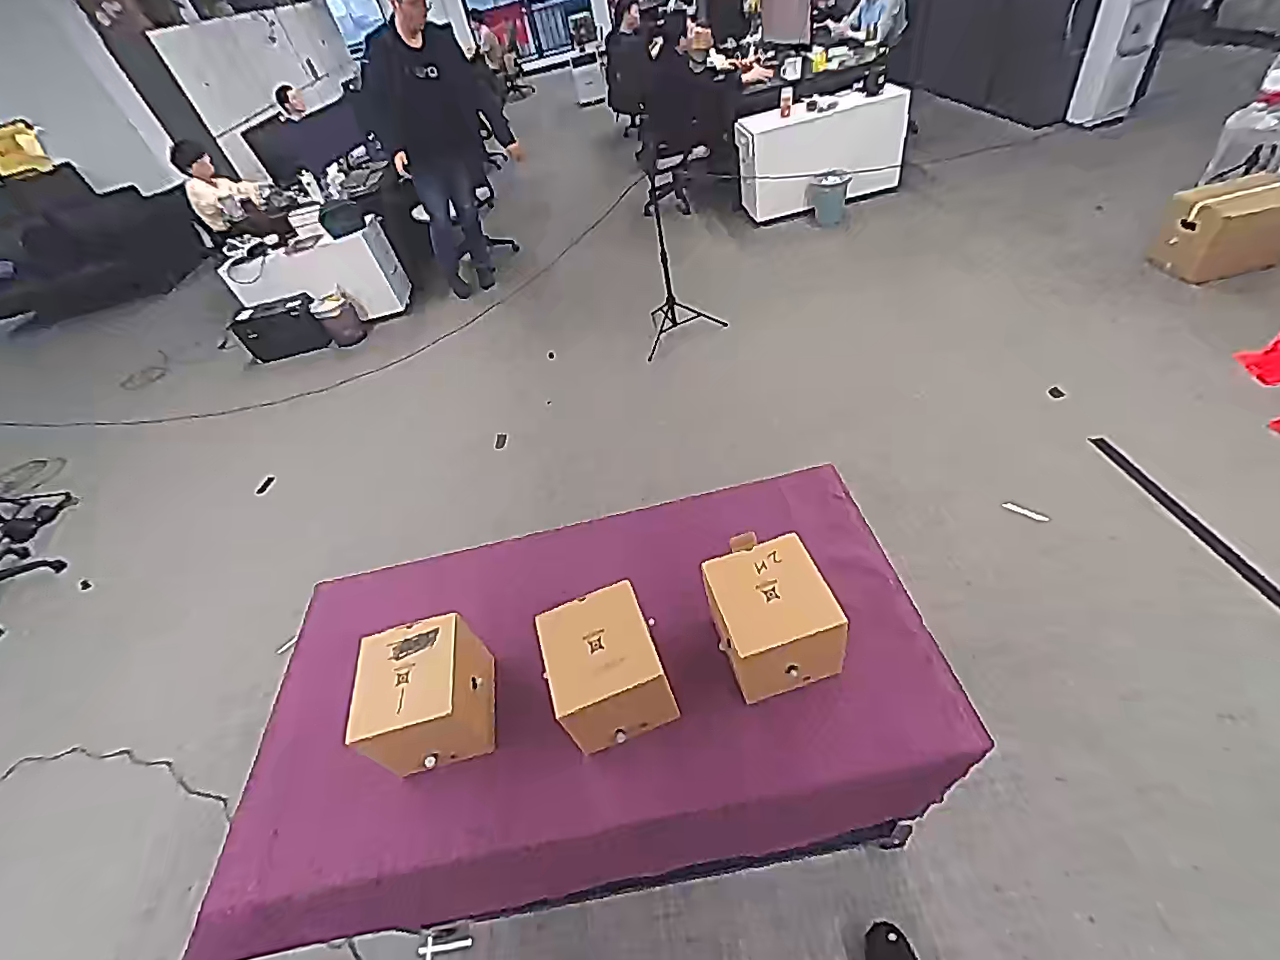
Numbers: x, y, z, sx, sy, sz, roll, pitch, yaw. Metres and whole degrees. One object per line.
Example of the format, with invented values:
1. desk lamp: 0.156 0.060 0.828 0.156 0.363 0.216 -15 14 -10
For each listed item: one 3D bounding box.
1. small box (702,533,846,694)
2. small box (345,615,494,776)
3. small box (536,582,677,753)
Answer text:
1. small box: 0.212 0.222 0.874 0.168 0.176 0.179 -18 44 -2
2. small box: -0.352 0.359 0.900 0.168 0.176 0.179 -16 45 0
3. small box: -0.053 0.303 0.872 0.168 0.176 0.179 -21 45 -4
